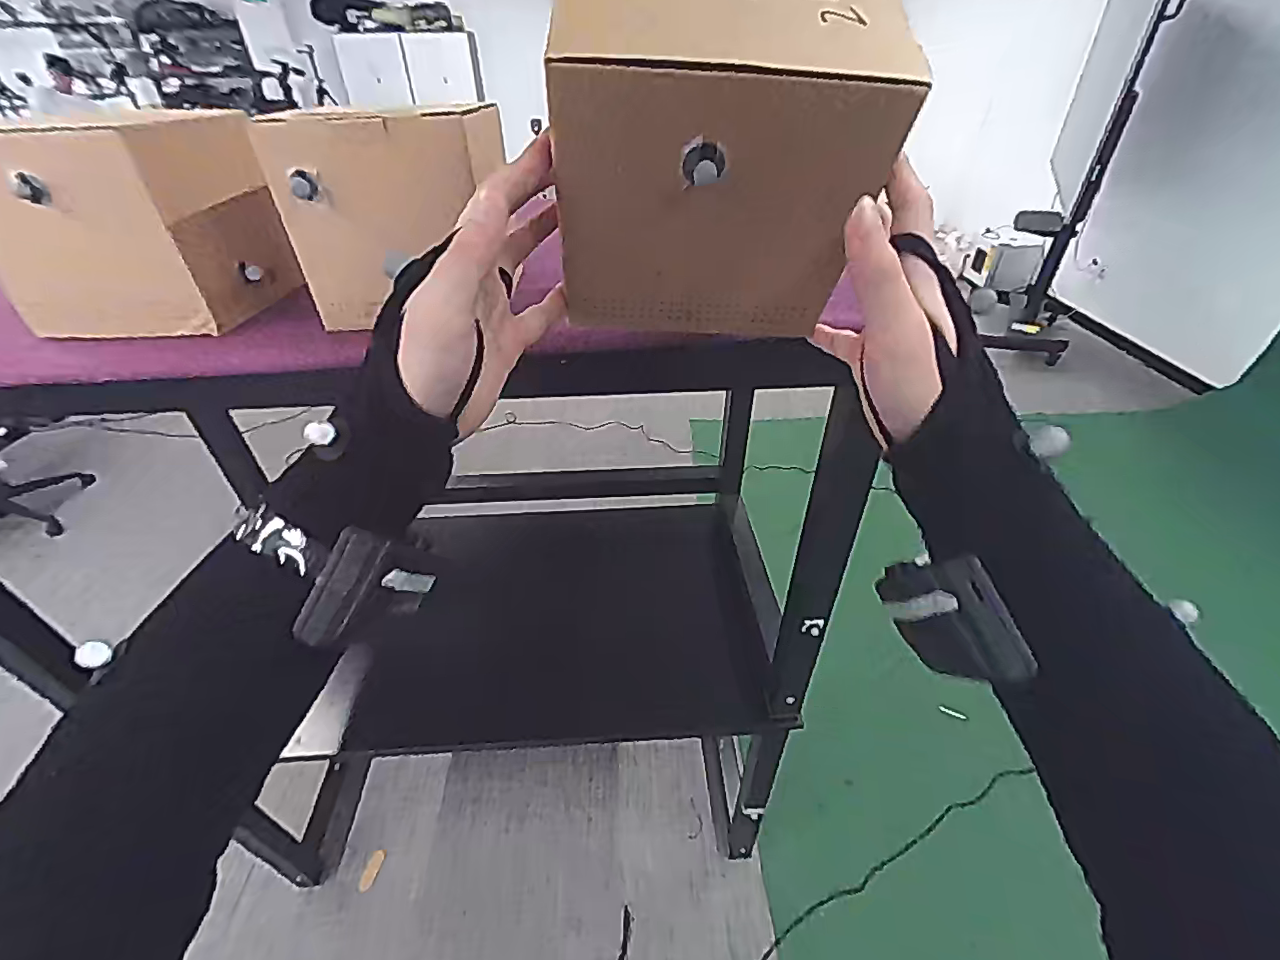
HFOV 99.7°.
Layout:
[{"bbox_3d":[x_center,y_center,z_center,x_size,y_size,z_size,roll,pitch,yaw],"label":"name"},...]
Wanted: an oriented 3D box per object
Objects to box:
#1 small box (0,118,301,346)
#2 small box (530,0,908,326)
[{"bbox_3d":[-0.474,-0.236,0.513,0.179,0.176,0.168,-1,38,1],"label":"small box"},{"bbox_3d":[0.035,-0.219,0.351,0.179,0.176,0.168,1,63,-2],"label":"small box"}]
